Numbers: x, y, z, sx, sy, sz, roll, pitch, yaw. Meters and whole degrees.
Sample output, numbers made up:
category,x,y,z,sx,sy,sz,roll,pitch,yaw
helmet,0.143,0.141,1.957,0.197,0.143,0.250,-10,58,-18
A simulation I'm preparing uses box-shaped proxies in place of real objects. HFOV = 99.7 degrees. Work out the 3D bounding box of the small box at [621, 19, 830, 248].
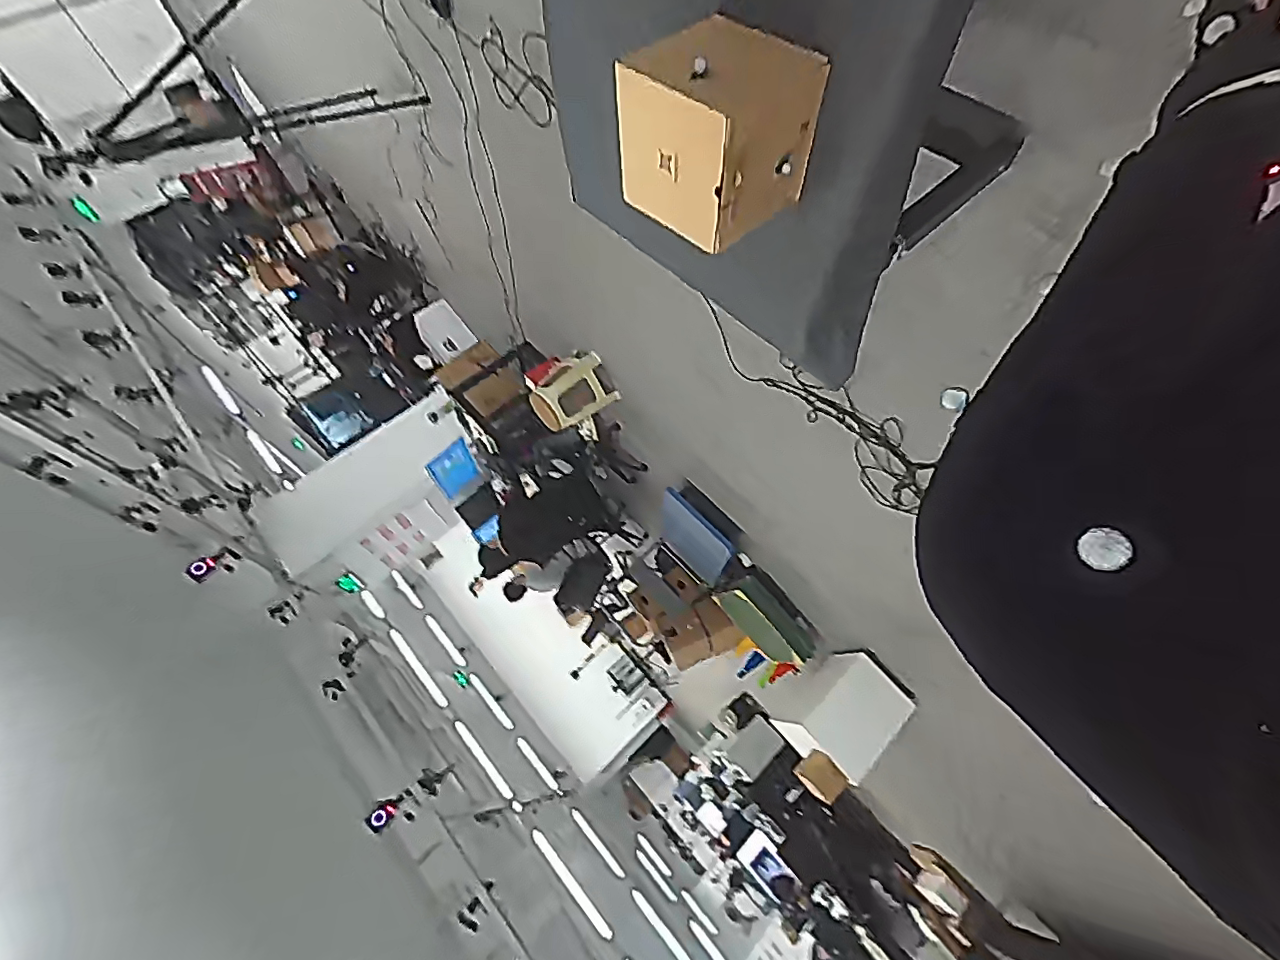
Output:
category,x,y,z,sx,sy,sz,roll,pitch,yaw
small box,0.098,-0.432,0.670,0.179,0.176,0.168,42,159,23
